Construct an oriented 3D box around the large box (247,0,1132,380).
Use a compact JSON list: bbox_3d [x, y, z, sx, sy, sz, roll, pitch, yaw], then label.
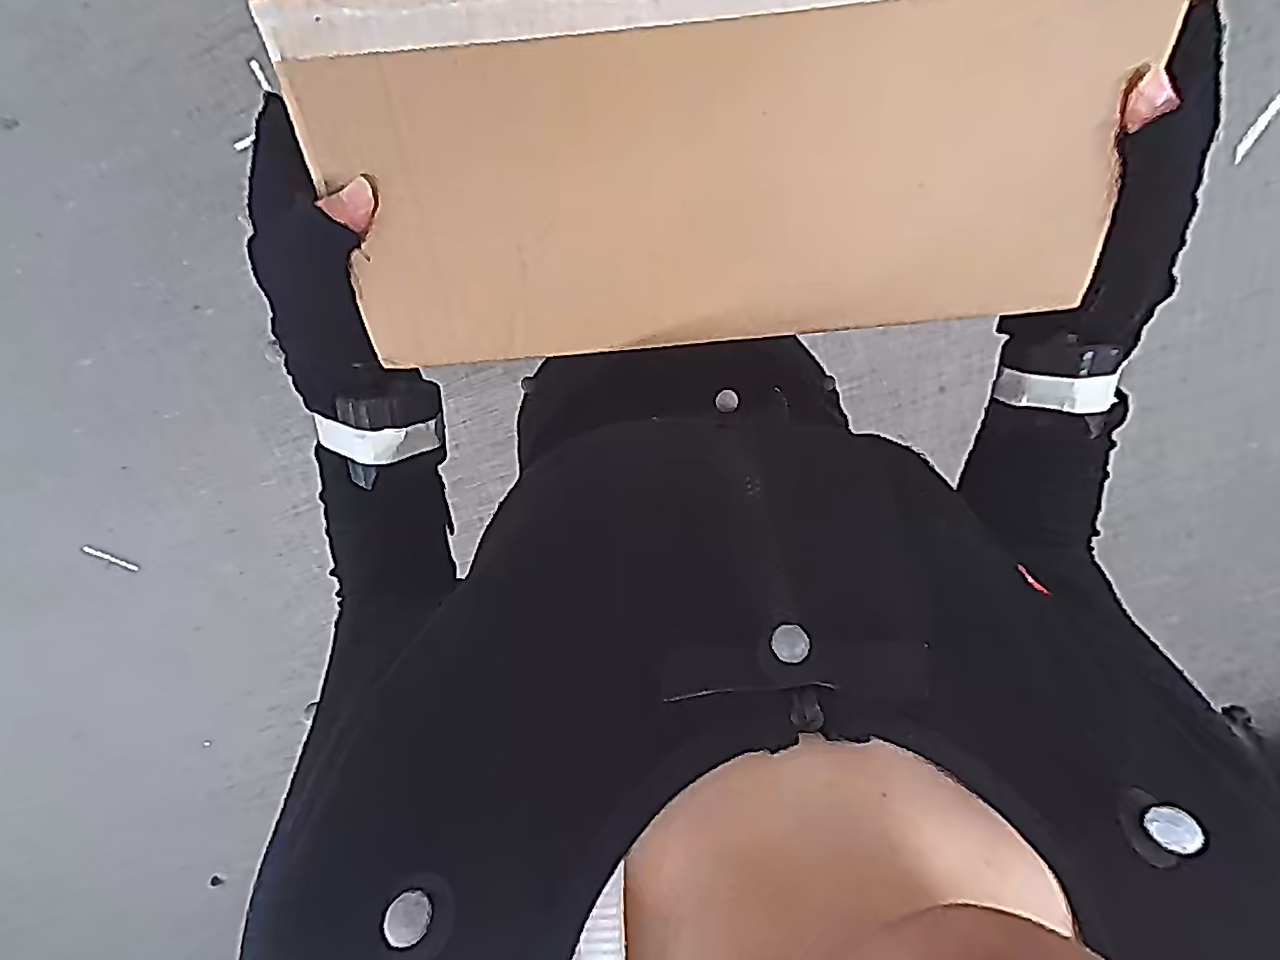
[{"bbox_3d":[0.023,-0.292,0.367,0.408,0.320,0.320,-6,122,1],"label":"large box"}]
